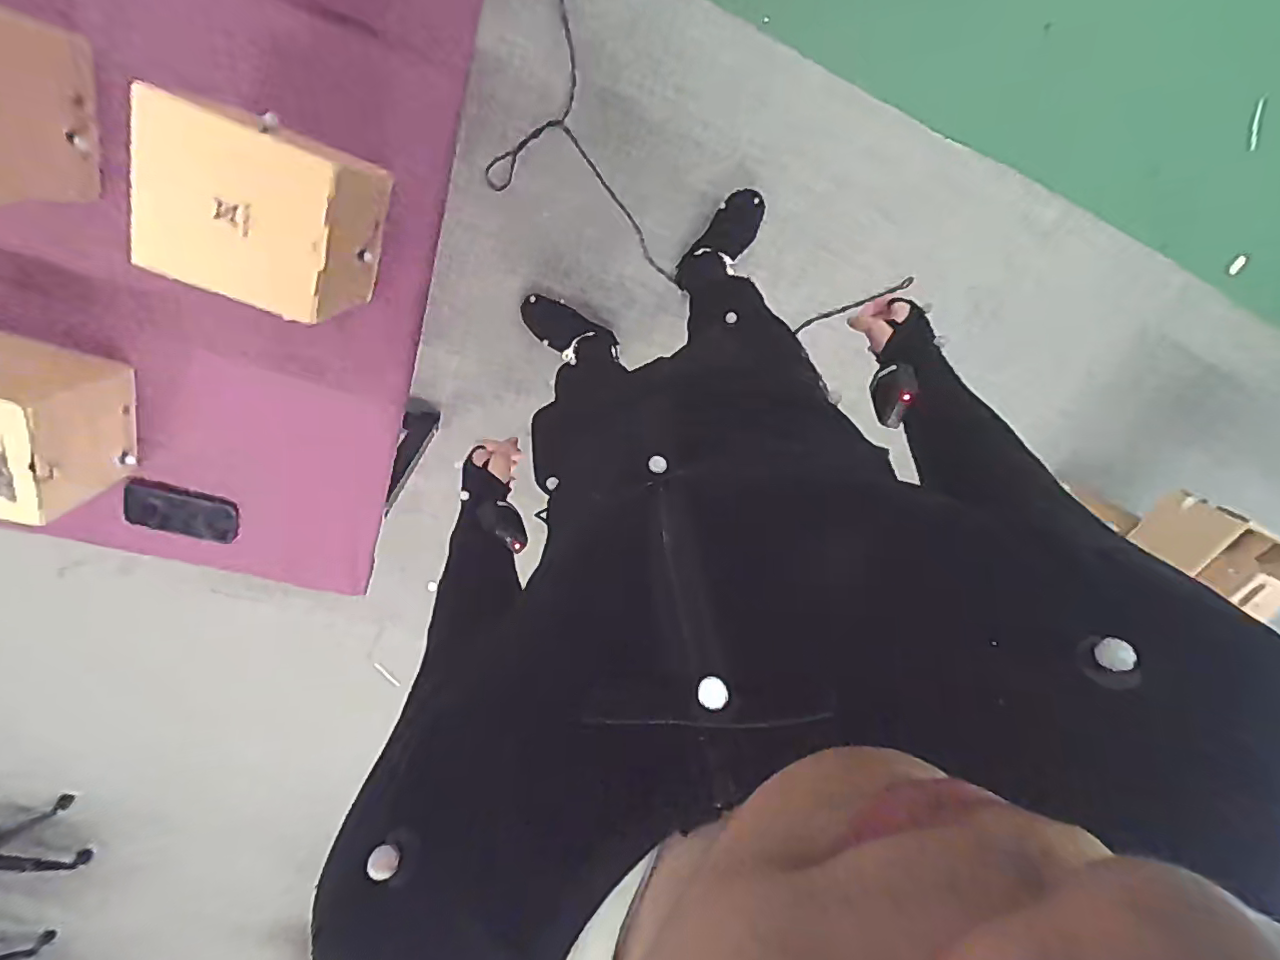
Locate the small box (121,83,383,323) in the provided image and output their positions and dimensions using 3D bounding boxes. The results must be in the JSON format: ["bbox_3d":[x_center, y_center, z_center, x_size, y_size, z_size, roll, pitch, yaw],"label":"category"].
[{"bbox_3d":[-0.416,-0.295,0.602,0.179,0.176,0.168,18,113,-13],"label":"small box"}]

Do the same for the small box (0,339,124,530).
[{"bbox_3d":[-0.796,-0.065,0.674,0.179,0.176,0.168,15,113,-13],"label":"small box"}]

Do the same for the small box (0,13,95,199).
[{"bbox_3d":[-0.700,-0.386,0.526,0.179,0.176,0.168,15,115,-14],"label":"small box"}]
